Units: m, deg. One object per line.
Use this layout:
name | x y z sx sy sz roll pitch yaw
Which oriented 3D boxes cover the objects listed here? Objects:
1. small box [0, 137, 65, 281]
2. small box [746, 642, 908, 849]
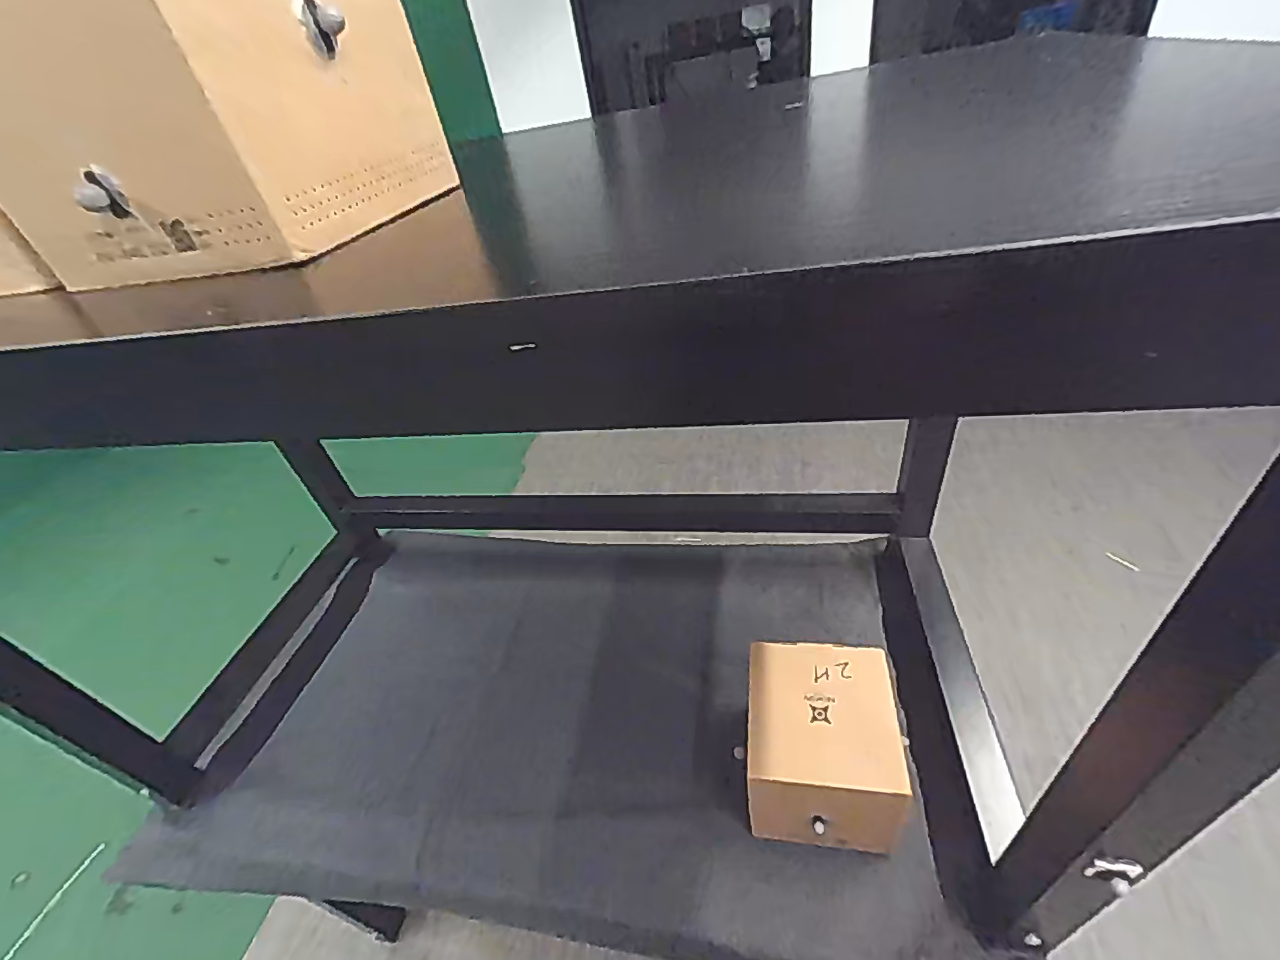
small box | -0.613 -0.221 0.407 0.168 0.176 0.179 0 40 15
small box | 0.224 0.330 0.677 0.168 0.176 0.179 0 38 14
